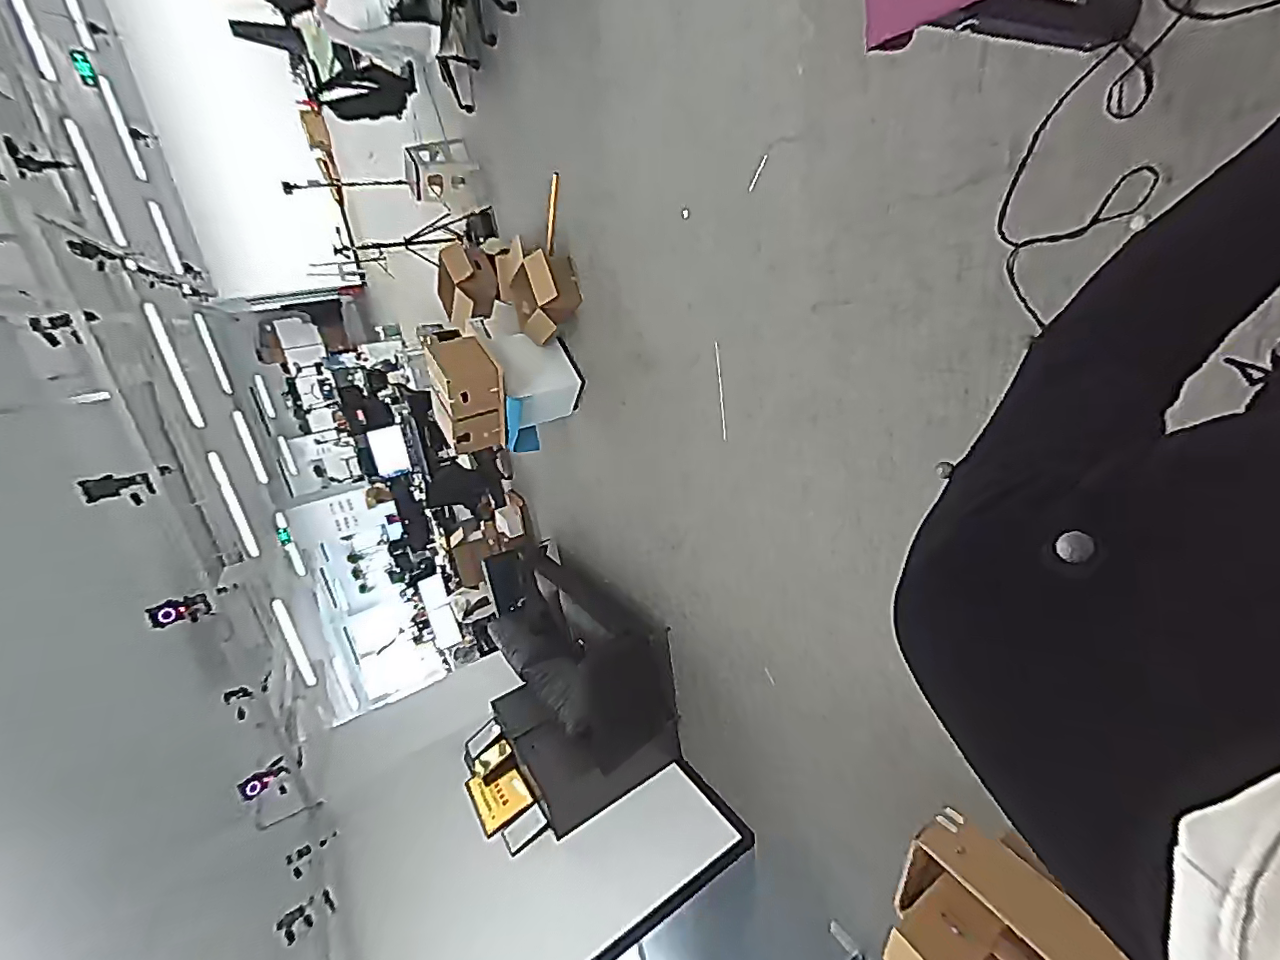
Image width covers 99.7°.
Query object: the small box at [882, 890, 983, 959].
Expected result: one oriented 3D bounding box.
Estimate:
[{"bbox_3d":[0.797,1.285,1.474,0.168,0.176,0.179,33,134,48],"label":"small box"}]
